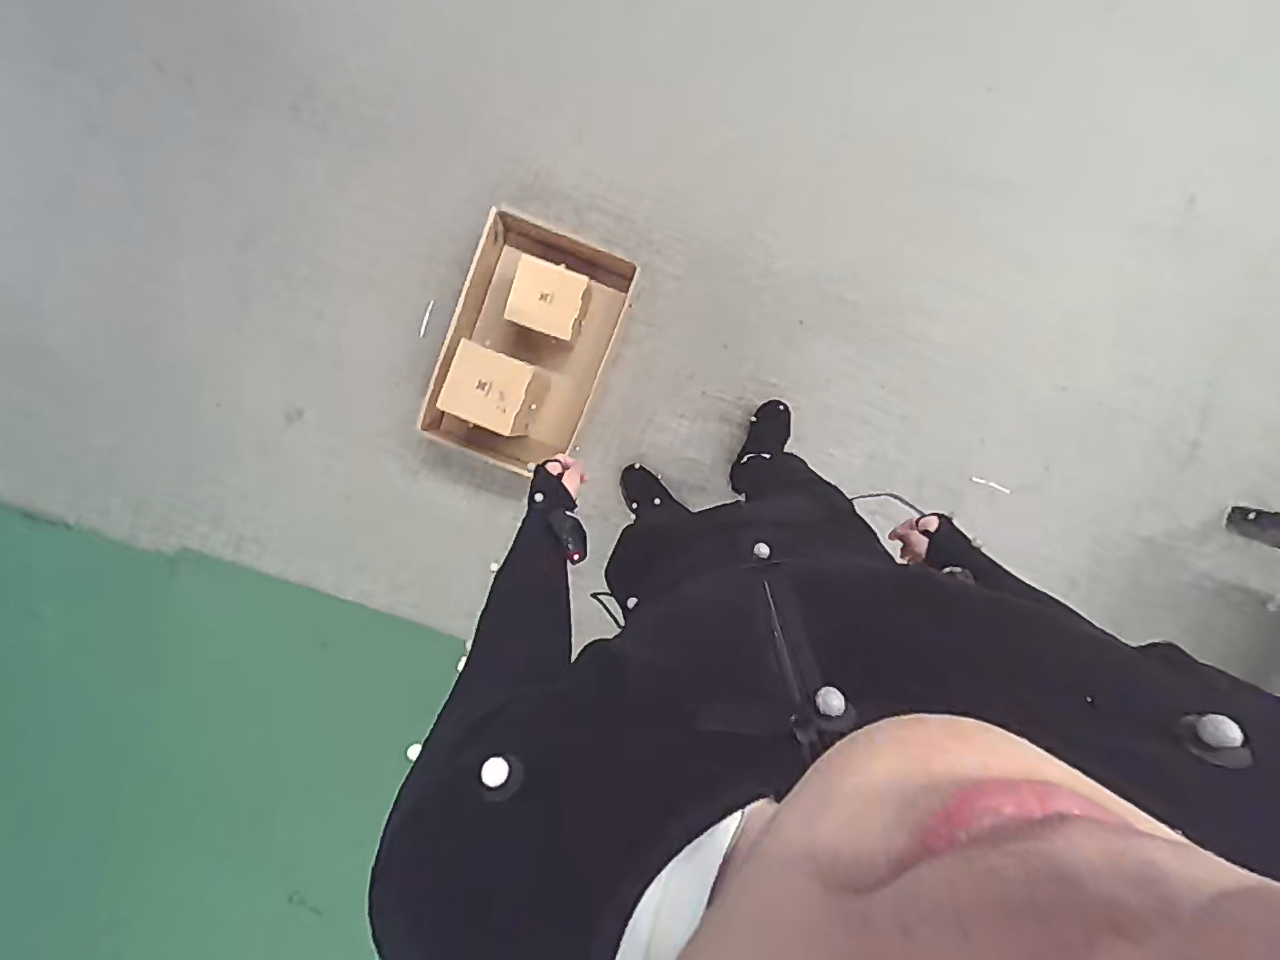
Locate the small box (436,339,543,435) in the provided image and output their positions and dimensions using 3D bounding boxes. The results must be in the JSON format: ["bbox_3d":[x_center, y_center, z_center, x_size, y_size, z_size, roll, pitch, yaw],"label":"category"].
[{"bbox_3d":[-0.346,-0.212,1.278,0.179,0.176,0.168,23,94,-4],"label":"small box"}]
